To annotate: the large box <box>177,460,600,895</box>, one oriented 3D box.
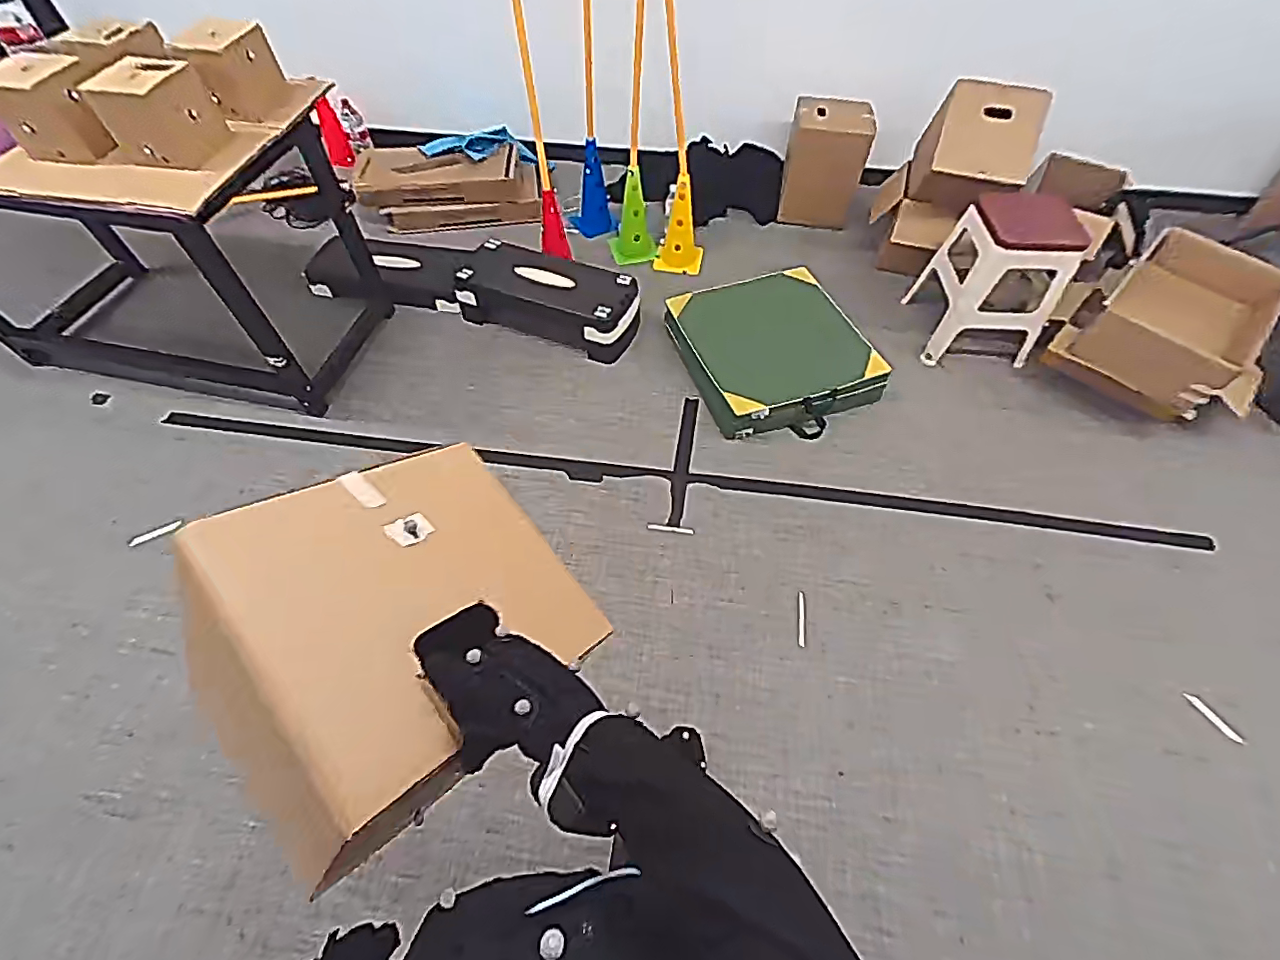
[{"bbox_3d":[-0.323,0.242,0.690,0.320,0.408,0.320,49,41,14],"label":"large box"}]
